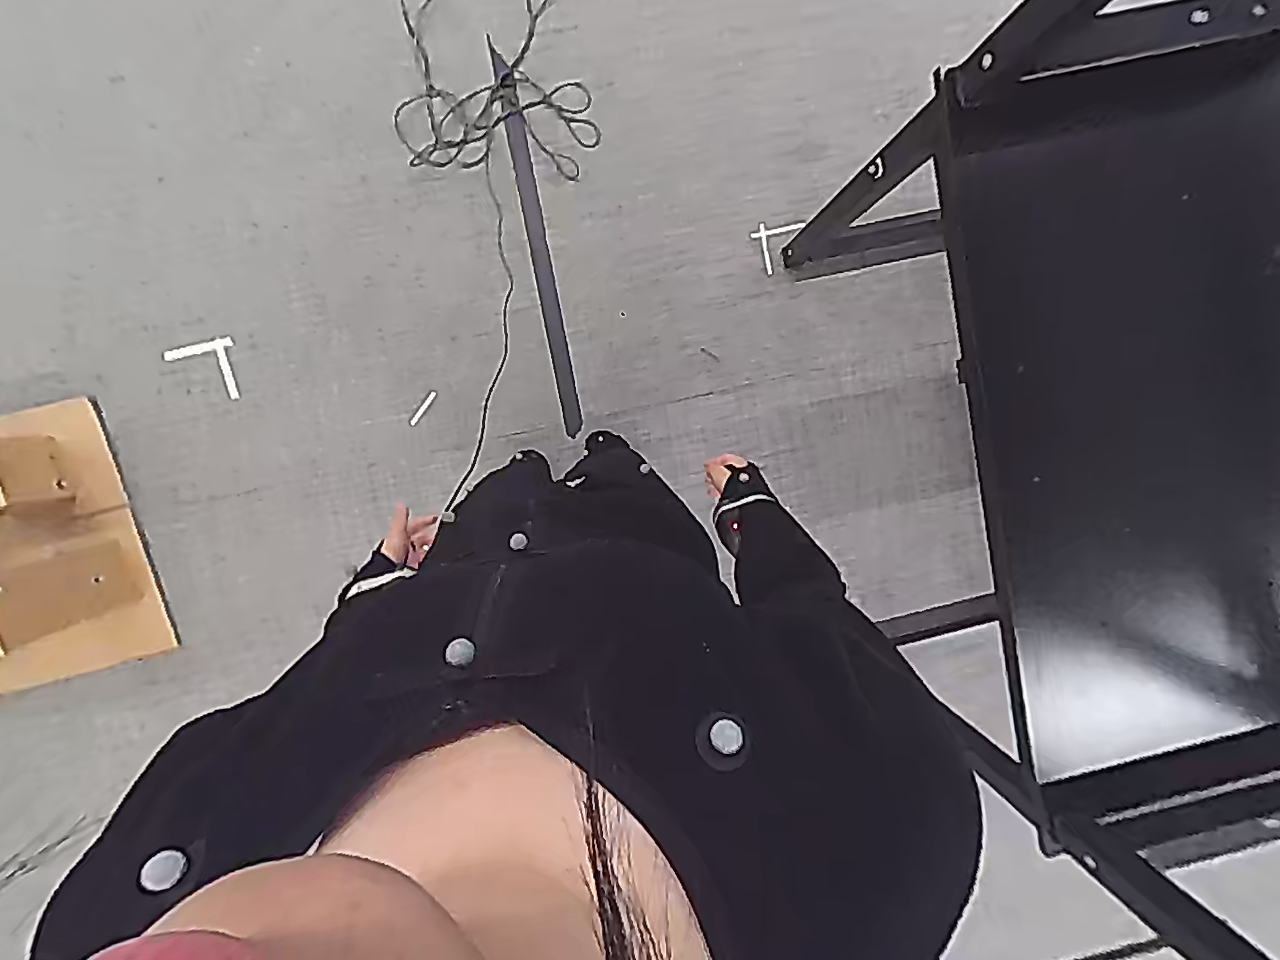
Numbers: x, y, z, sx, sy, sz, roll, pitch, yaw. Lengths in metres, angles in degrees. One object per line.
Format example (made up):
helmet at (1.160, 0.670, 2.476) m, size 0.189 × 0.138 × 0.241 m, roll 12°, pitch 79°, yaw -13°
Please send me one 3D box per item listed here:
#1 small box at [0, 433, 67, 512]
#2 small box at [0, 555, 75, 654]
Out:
small box at (-1.555, -0.012, 1.301) m, size 0.179 × 0.176 × 0.168 m, roll -17°, pitch 97°, yaw -2°
small box at (-1.409, 0.284, 1.176) m, size 0.168 × 0.176 × 0.179 m, roll -16°, pitch 97°, yaw -2°
